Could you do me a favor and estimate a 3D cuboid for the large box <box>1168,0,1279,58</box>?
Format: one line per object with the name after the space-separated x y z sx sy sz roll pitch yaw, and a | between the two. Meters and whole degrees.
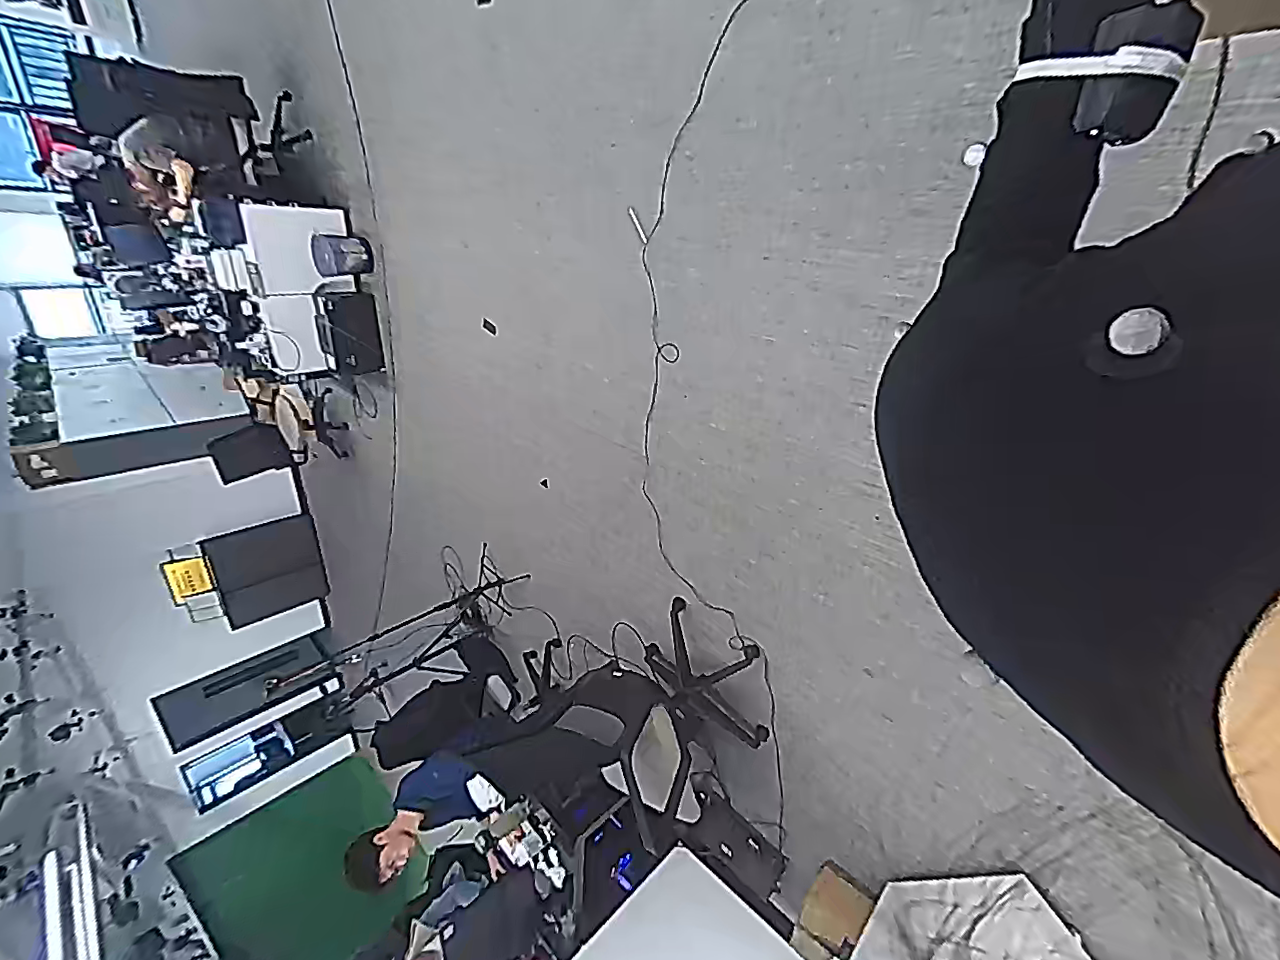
0.550 -0.427 0.231 0.408 0.320 0.320 21 127 38 | large box
